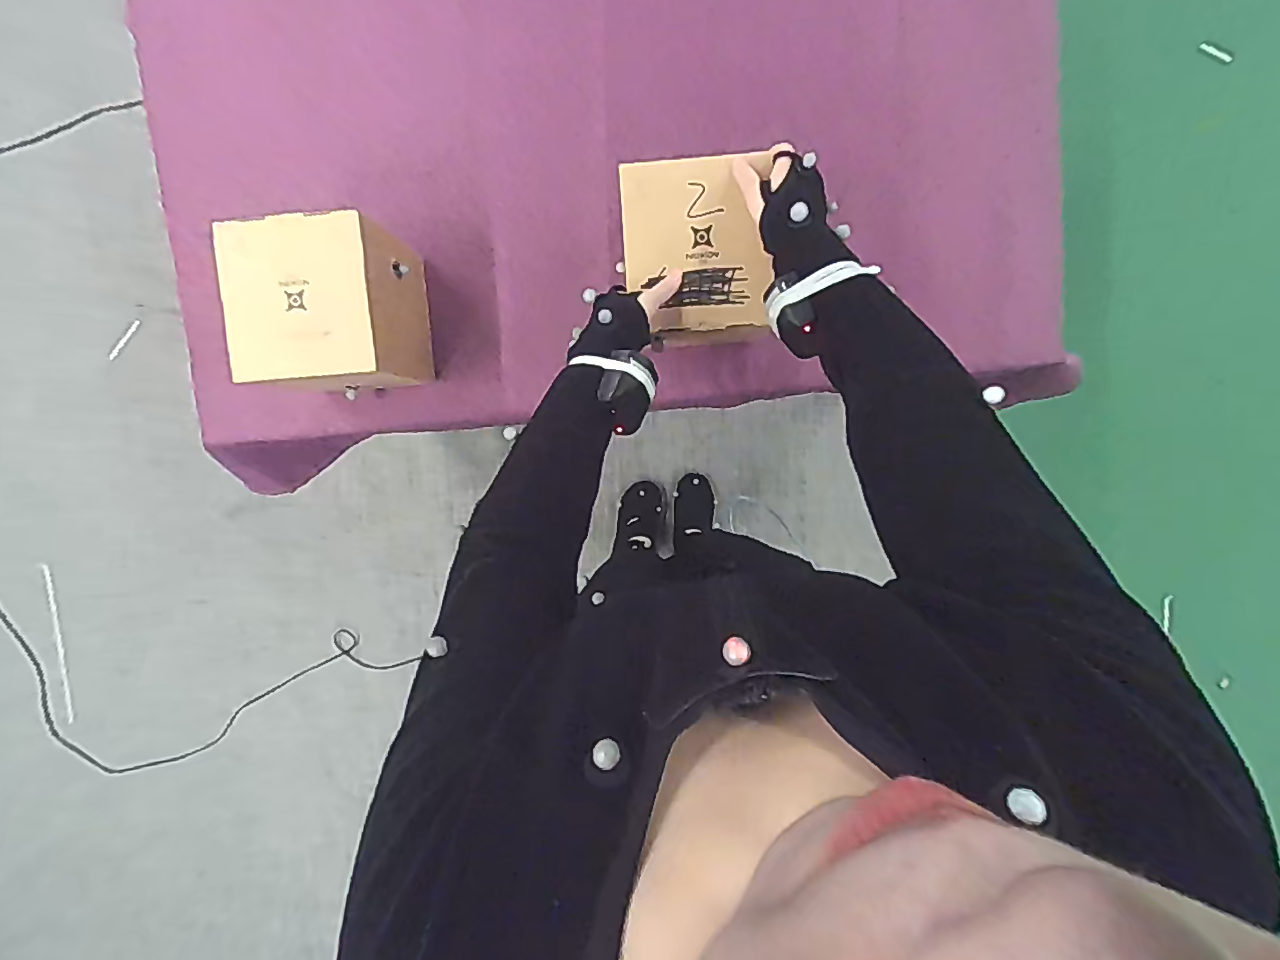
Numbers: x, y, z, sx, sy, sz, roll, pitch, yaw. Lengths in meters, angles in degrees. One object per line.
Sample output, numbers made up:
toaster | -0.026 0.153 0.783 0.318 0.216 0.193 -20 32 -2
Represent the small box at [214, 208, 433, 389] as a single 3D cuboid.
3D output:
small box | -0.377 -0.212 0.674 0.168 0.176 0.179 -4 96 3
